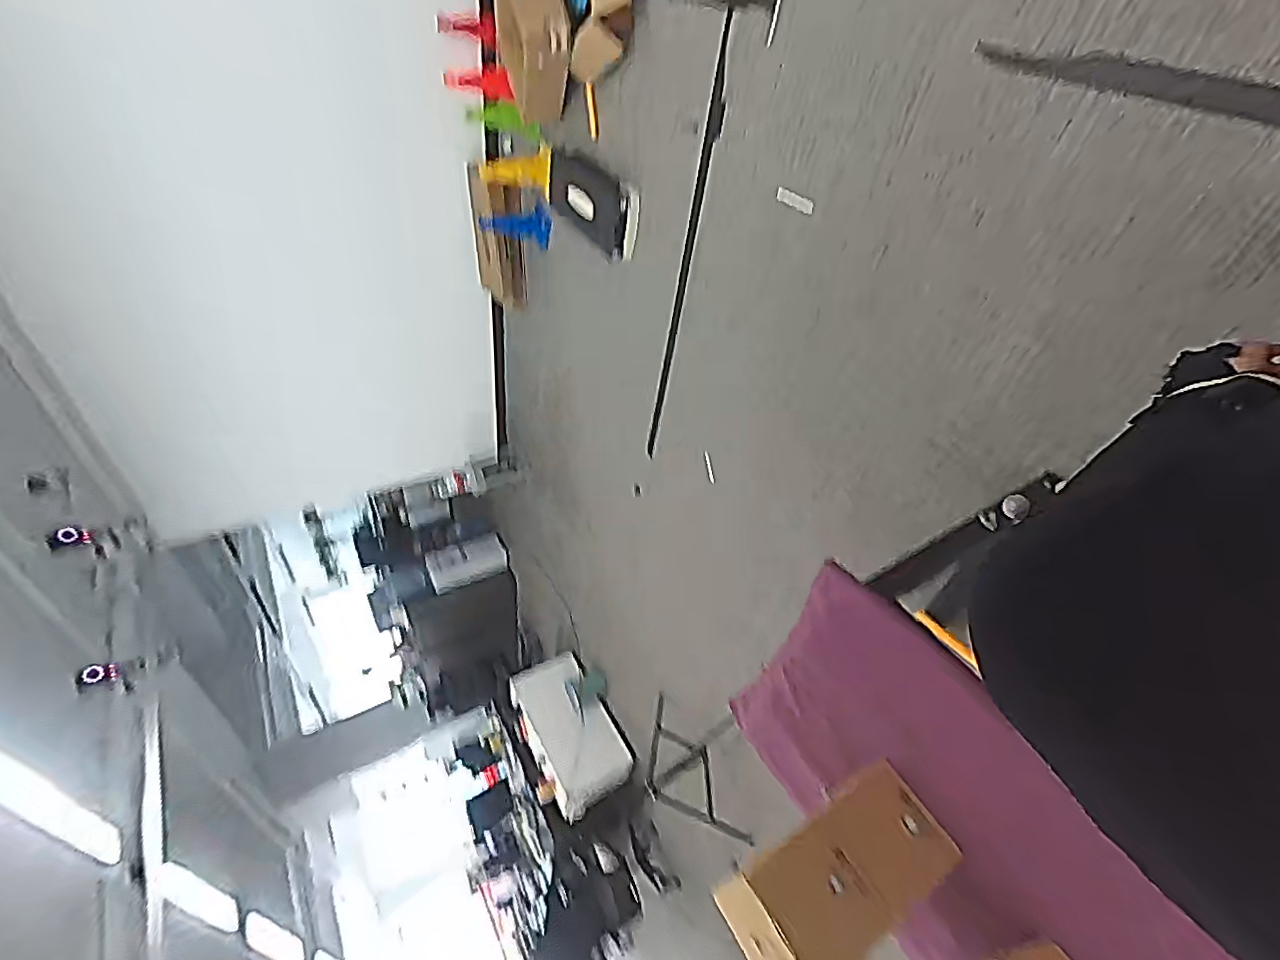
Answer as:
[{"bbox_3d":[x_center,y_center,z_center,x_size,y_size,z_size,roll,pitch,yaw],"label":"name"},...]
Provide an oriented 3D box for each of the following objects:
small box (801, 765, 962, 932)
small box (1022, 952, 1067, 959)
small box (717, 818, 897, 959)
[{"bbox_3d":[0.389,0.616,0.901,0.168,0.176,0.179,51,145,32],"label":"small box"},{"bbox_3d":[0.556,0.781,0.710,0.179,0.176,0.168,49,144,36],"label":"small box"},{"bbox_3d":[0.250,0.659,0.823,0.168,0.176,0.179,50,144,32],"label":"small box"}]
